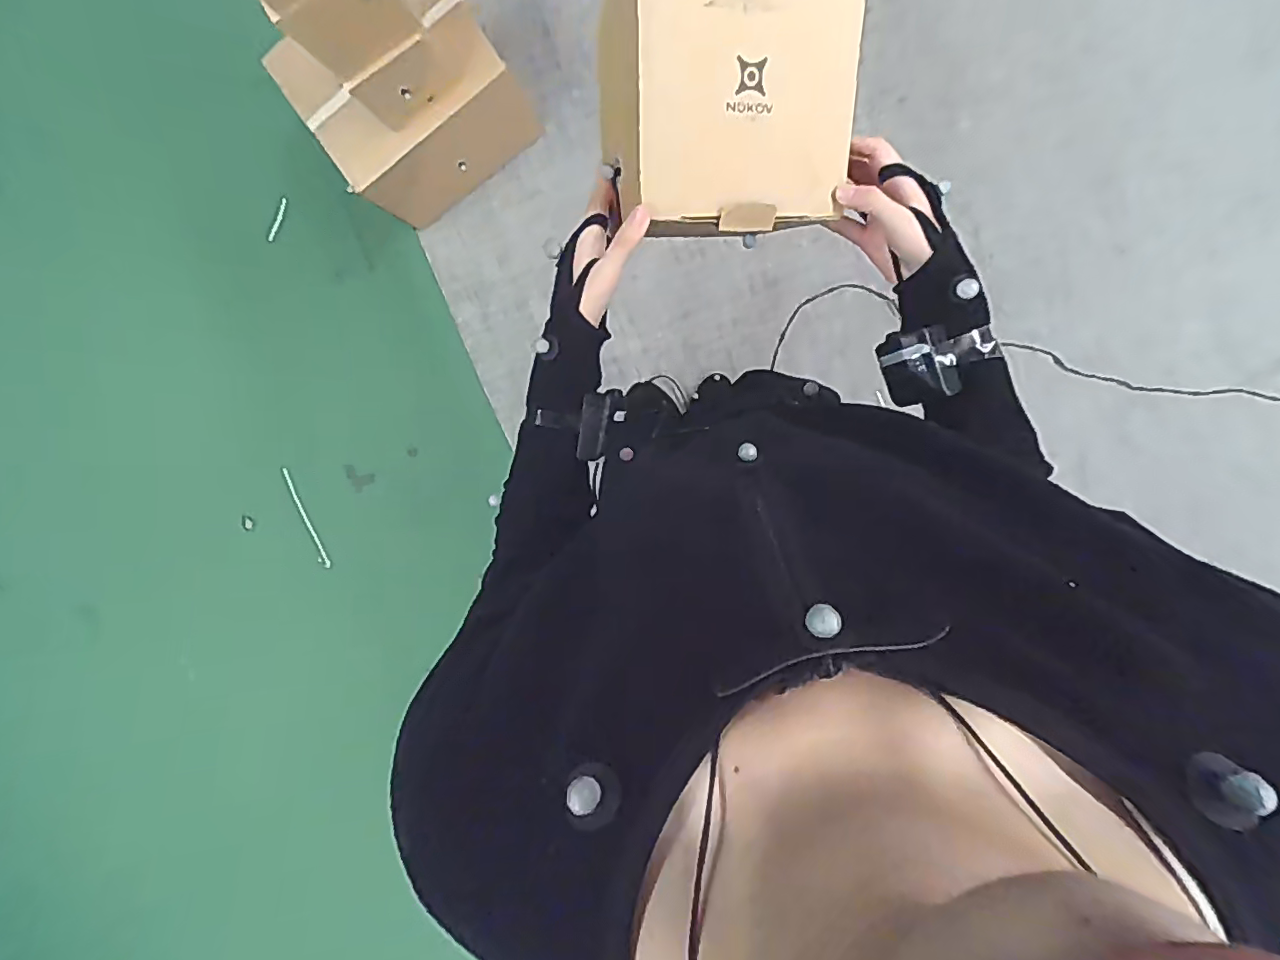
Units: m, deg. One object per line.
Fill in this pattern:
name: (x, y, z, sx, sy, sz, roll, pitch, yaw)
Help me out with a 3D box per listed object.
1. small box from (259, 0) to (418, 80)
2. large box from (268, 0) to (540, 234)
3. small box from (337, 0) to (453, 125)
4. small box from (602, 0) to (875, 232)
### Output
small box: (-0.482, -0.772, 0.829, 0.179, 0.176, 0.168, -27, 98, 6)
large box: (-0.503, -0.848, 1.231, 0.408, 0.320, 0.320, -34, 96, 9)
small box: (-0.475, -0.793, 0.990, 0.168, 0.176, 0.179, -29, 98, 7)
small box: (0.064, -0.305, 0.445, 0.168, 0.176, 0.179, -6, 111, -12)
